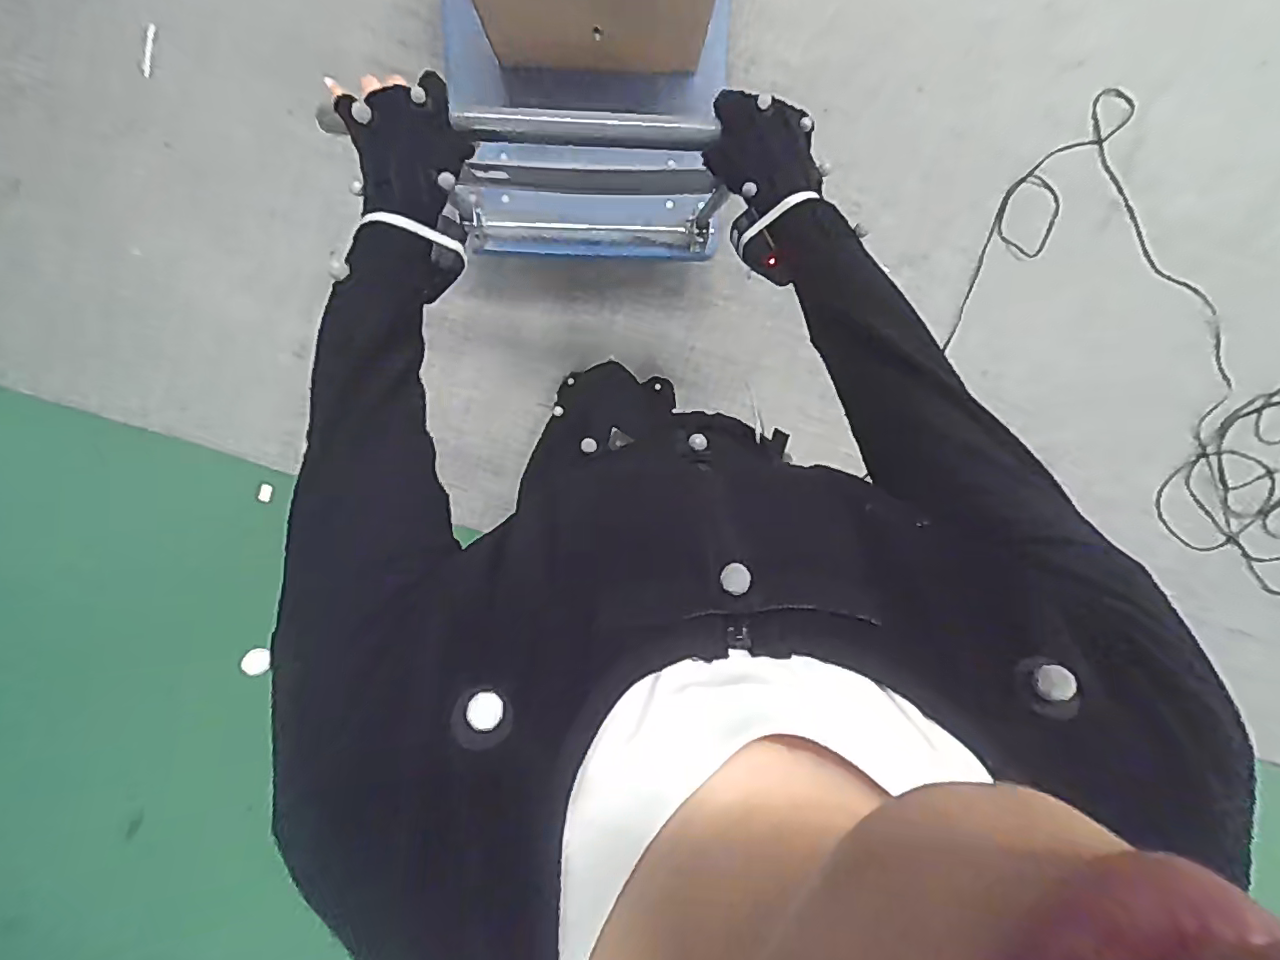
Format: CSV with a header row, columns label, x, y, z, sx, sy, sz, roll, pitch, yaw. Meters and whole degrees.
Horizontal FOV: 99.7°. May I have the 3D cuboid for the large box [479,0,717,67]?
label,x,y,z,sx,sy,sz,roll,pitch,yaw
large box,-0.074,-0.962,0.932,0.408,0.320,0.320,-1,103,-1
